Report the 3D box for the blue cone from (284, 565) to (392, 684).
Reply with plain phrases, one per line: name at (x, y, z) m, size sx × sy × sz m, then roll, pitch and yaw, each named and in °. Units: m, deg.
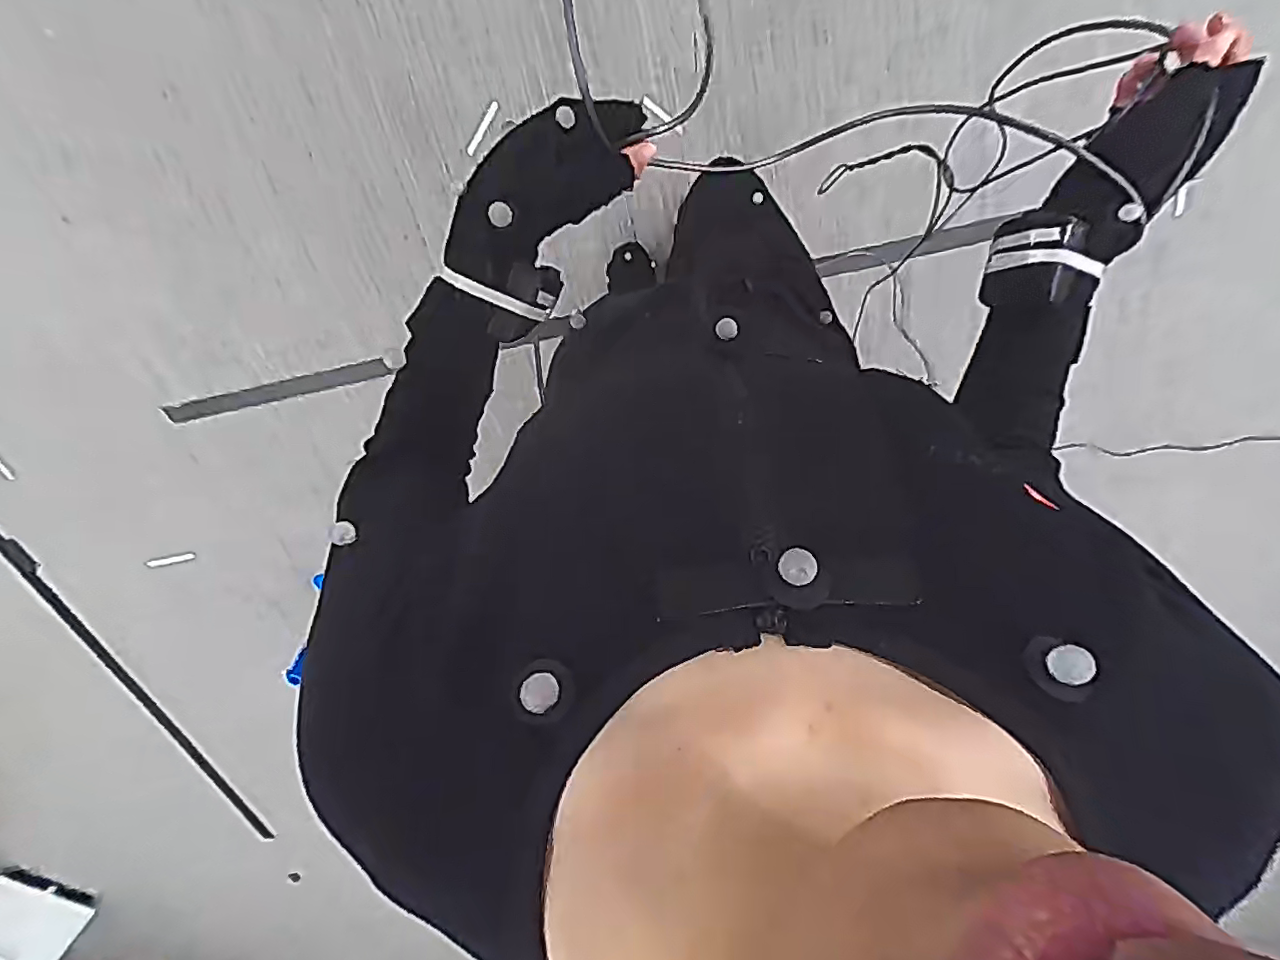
blue cone at (-0.895, 0.436, 1.556) m, size 0.193 × 0.380 × 0.192 m, roll -17°, pitch 115°, yaw 7°
